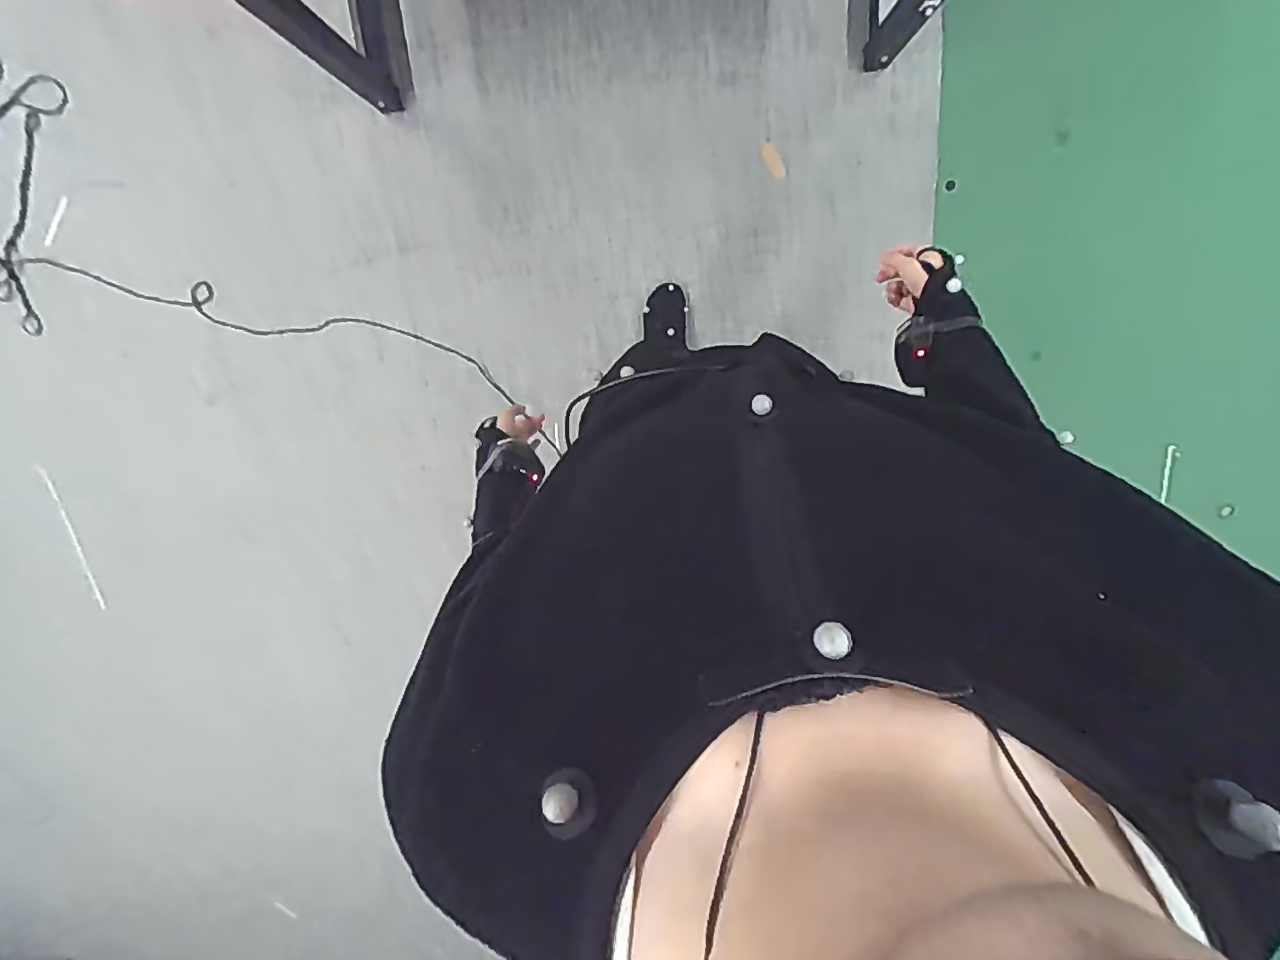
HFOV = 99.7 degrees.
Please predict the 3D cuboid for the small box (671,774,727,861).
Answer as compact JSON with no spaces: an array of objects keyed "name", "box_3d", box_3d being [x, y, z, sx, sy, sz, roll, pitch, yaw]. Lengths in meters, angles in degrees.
[{"name":"small box","box_3d":[0.182,1.065,1.715,0.168,0.176,0.179,1,106,3]}]
